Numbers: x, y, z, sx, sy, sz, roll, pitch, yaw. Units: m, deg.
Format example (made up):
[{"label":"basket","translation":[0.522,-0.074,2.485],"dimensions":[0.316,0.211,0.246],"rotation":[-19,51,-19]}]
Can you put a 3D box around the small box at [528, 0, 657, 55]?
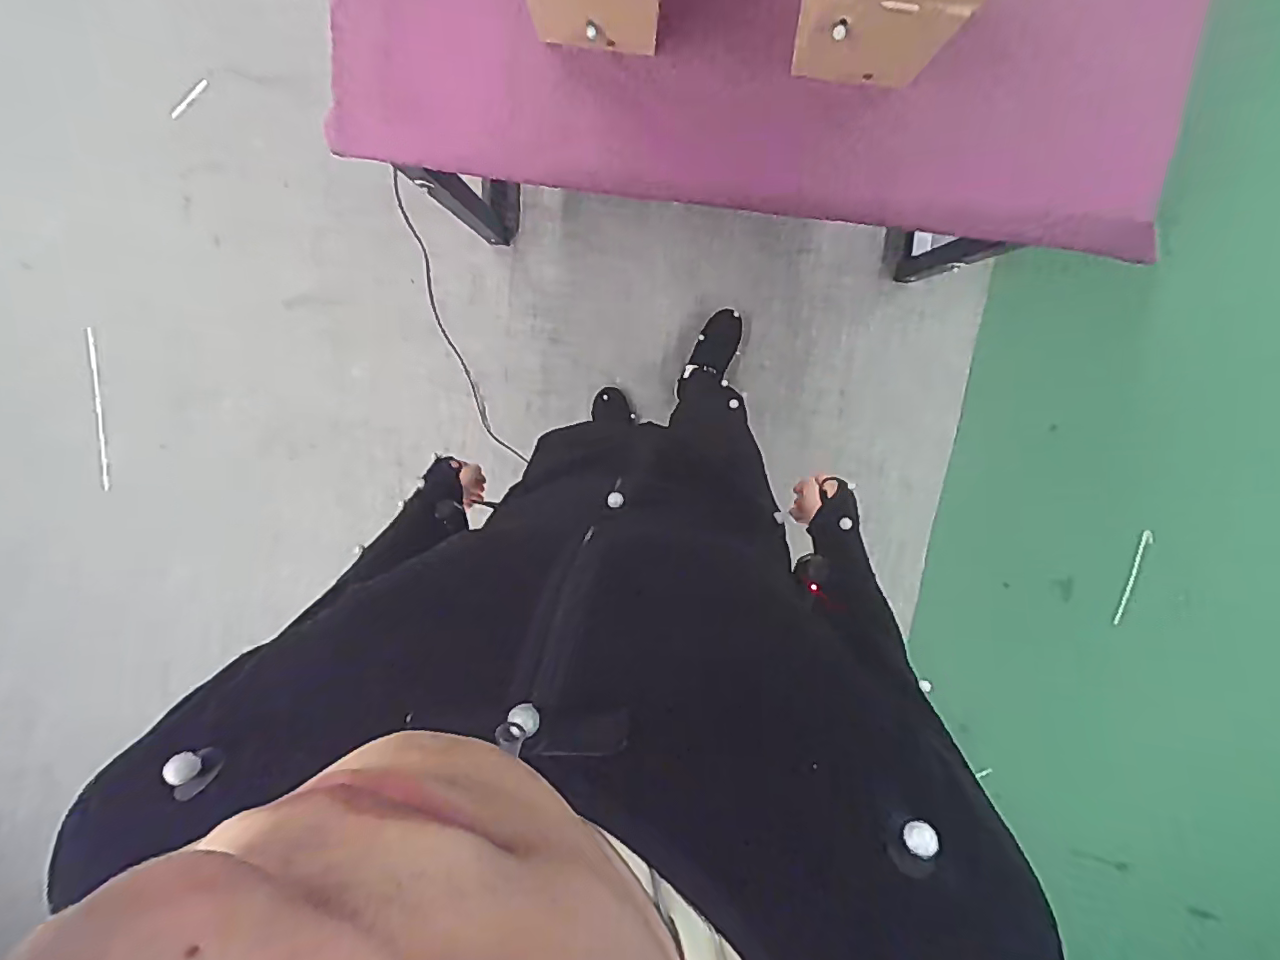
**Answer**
[{"label":"small box","translation":[-0.055,-0.669,0.655],"dimensions":[0.168,0.176,0.179],"rotation":[7,102,-1]}]

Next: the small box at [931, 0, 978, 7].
[{"label":"small box","translation":[0.304,-0.598,0.506],"dimensions":[0.168,0.176,0.179],"rotation":[6,101,-2]}]
